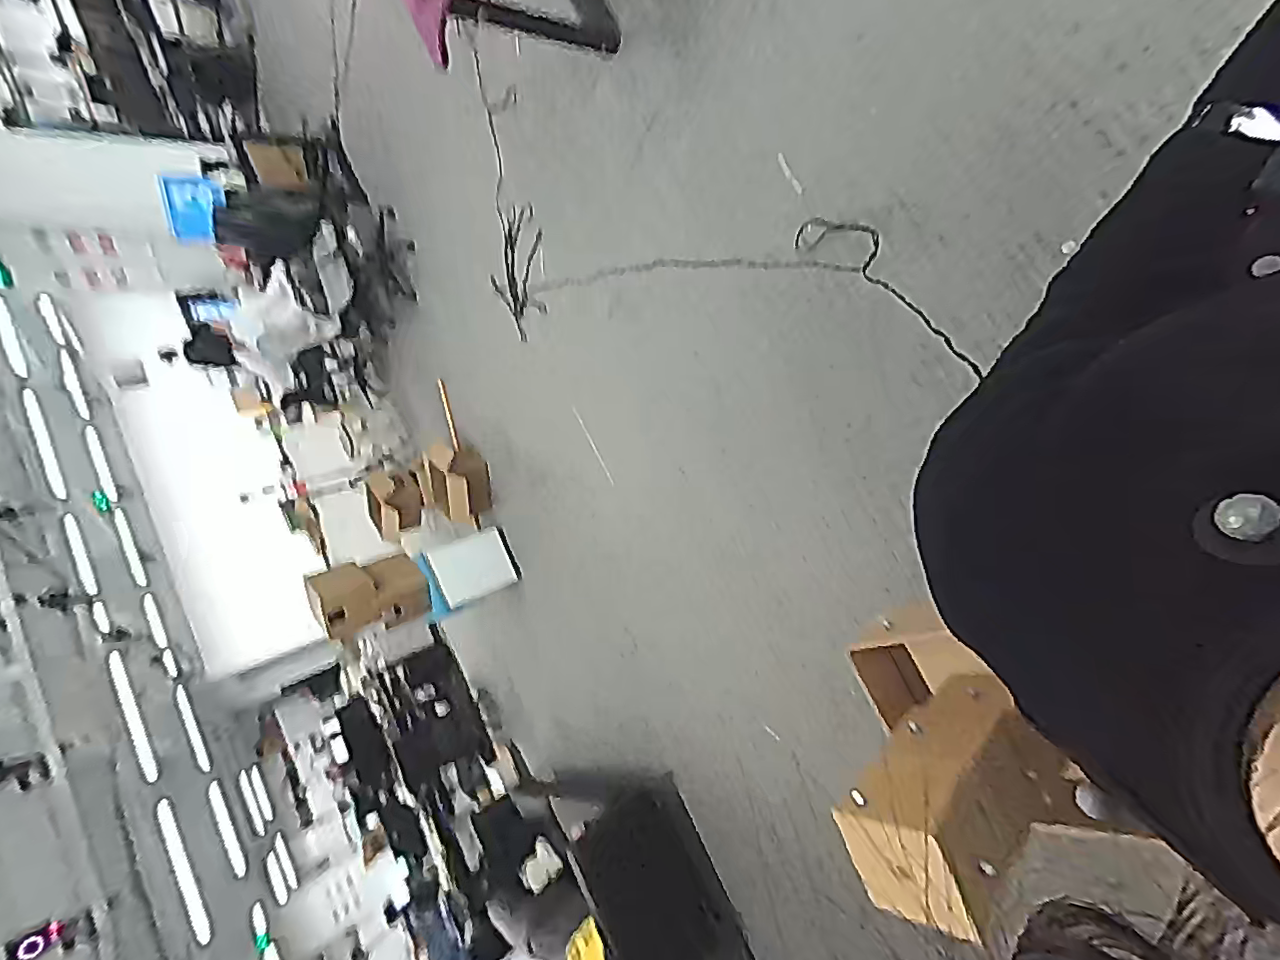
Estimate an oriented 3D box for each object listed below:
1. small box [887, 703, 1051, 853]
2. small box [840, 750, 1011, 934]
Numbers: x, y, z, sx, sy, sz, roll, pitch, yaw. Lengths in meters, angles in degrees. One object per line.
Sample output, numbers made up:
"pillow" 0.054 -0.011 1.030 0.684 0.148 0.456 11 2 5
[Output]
"small box" 0.593 0.522 0.978 0.179 0.176 0.168 -30 83 52
"small box" 0.471 0.569 0.882 0.179 0.176 0.168 -27 85 53
